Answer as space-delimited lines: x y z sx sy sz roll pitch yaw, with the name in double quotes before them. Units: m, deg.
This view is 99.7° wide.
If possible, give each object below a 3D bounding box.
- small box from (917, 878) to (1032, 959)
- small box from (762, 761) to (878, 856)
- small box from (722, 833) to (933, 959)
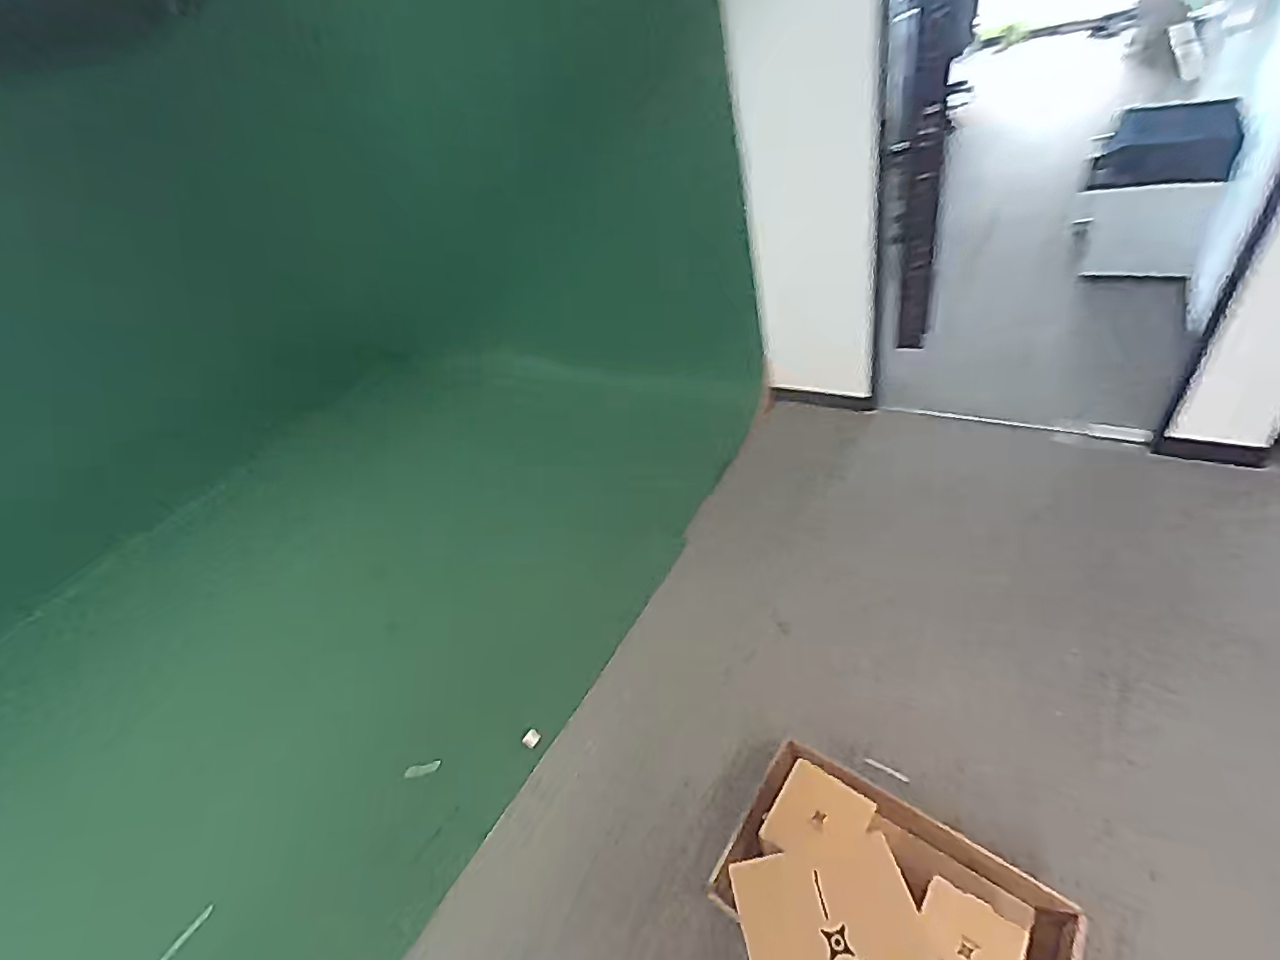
"small box" 0.620 0.923 1.039 0.168 0.176 0.179 19 53 37
"small box" 0.366 0.725 1.104 0.168 0.176 0.179 21 54 36
"small box" 0.187 0.488 0.525 0.168 0.176 0.179 -13 34 -1
